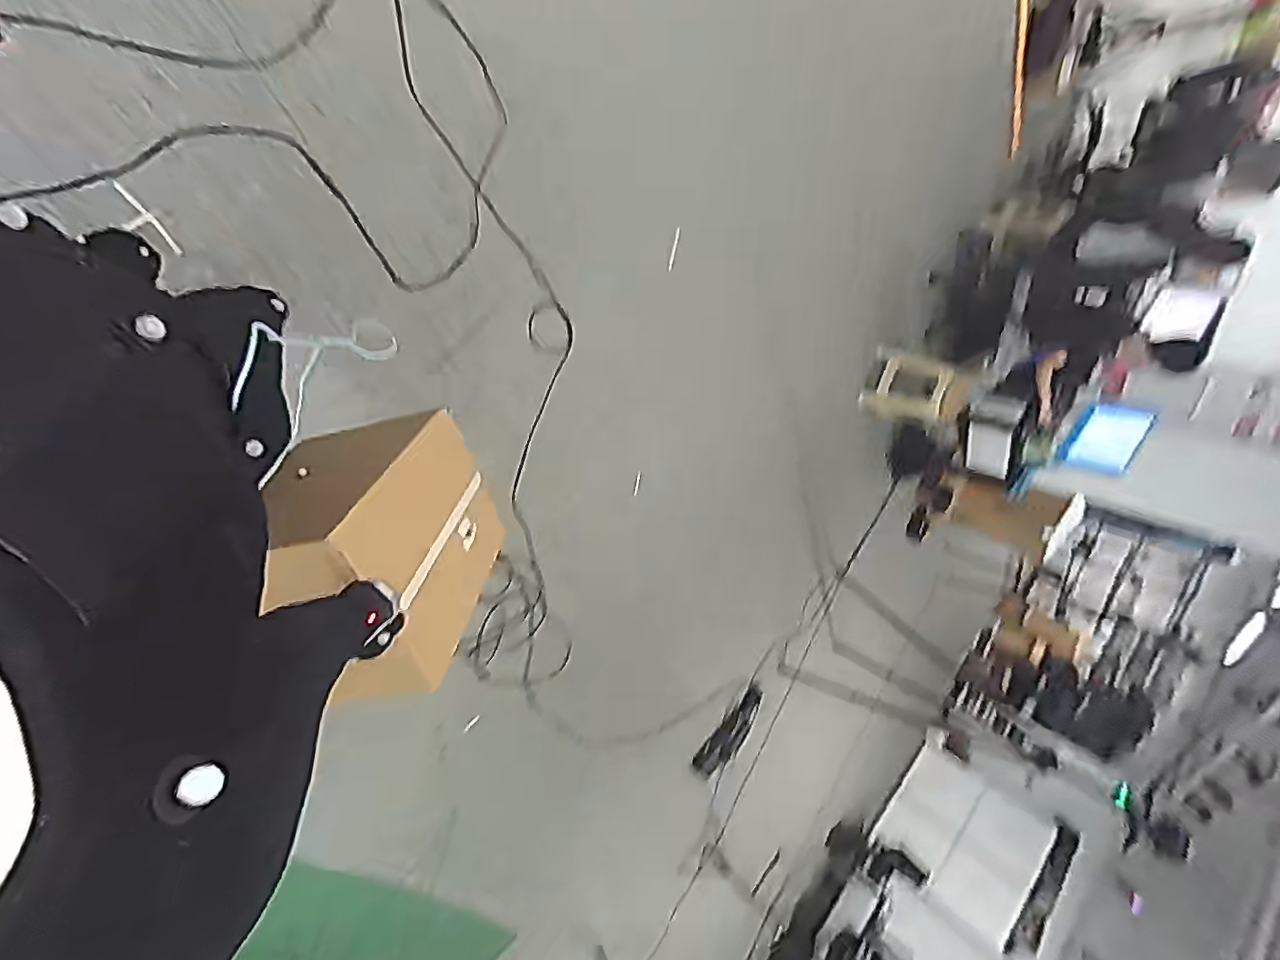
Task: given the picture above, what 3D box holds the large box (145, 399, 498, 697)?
[{"bbox_3d":[-0.500,0.106,0.957,0.320,0.408,0.320,-10,121,10],"label":"large box"}]
